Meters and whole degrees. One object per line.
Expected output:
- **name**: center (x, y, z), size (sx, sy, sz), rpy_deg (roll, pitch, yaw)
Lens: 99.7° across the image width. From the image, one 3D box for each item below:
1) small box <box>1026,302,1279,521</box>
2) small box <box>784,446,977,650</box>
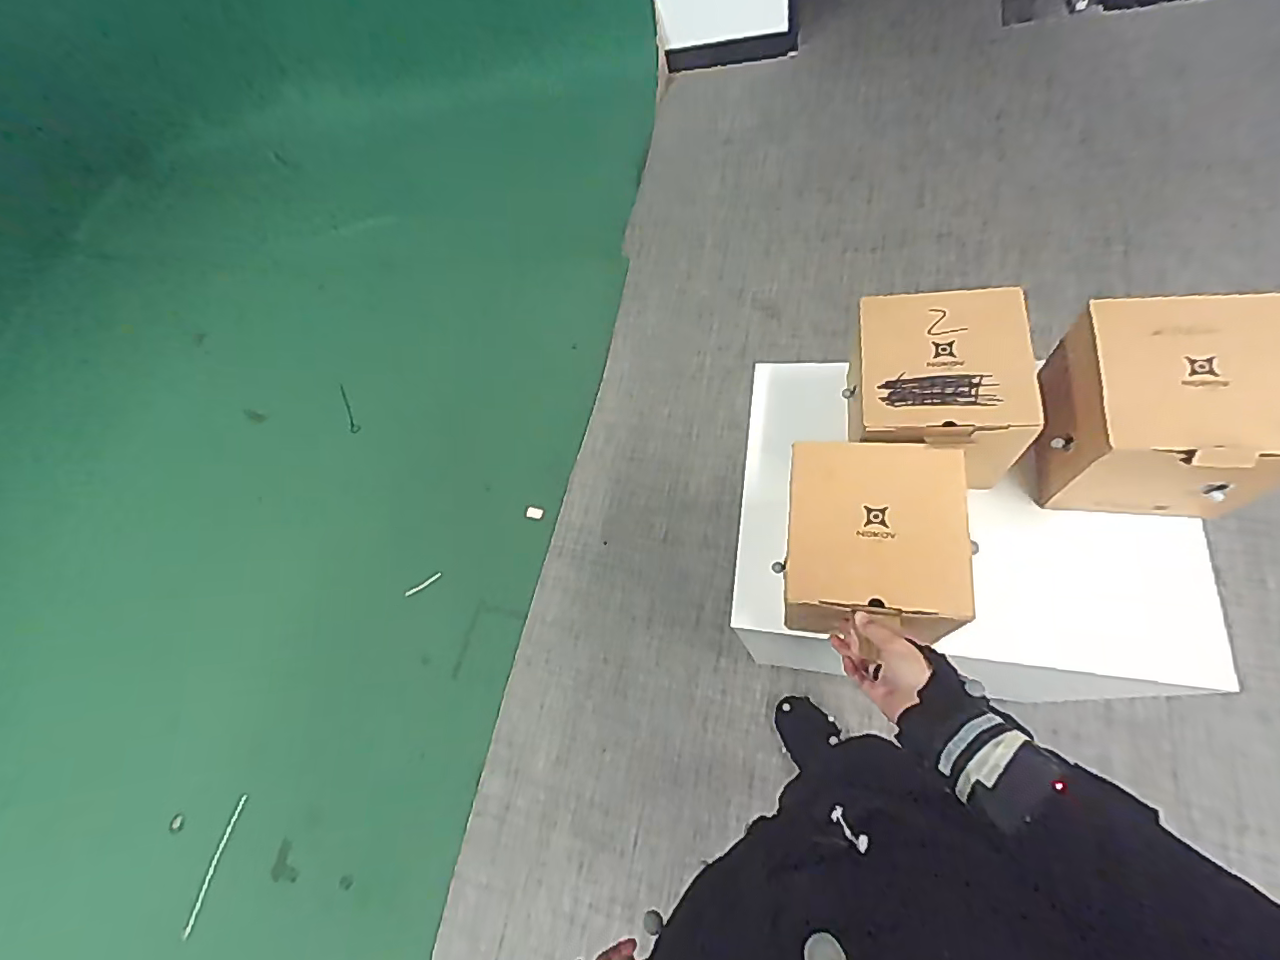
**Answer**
- **small box**: center (0.545, -0.064, 0.579), size (0.168, 0.176, 0.179), rpy_deg (3, 68, 16)
- **small box**: center (0.249, 0.079, 0.599), size (0.168, 0.176, 0.179), rpy_deg (2, 67, 16)
